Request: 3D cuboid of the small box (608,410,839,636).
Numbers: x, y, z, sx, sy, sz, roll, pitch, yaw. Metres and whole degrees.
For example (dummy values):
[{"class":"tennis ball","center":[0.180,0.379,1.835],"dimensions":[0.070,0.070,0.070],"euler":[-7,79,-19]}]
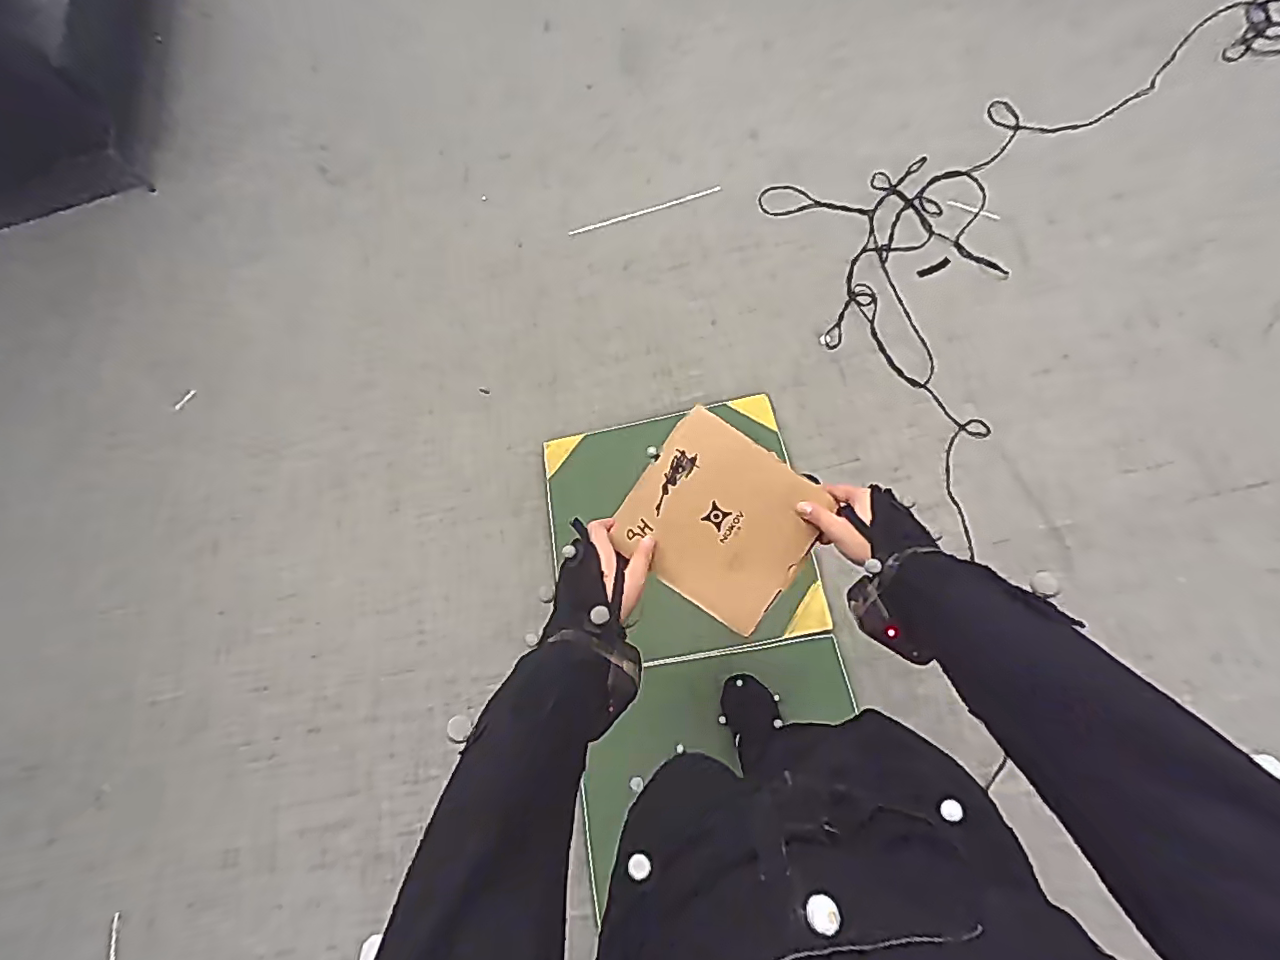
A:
[{"class":"small box","center":[0.083,0.040,0.615],"dimensions":[0.179,0.176,0.168],"euler":[35,90,-1]}]
